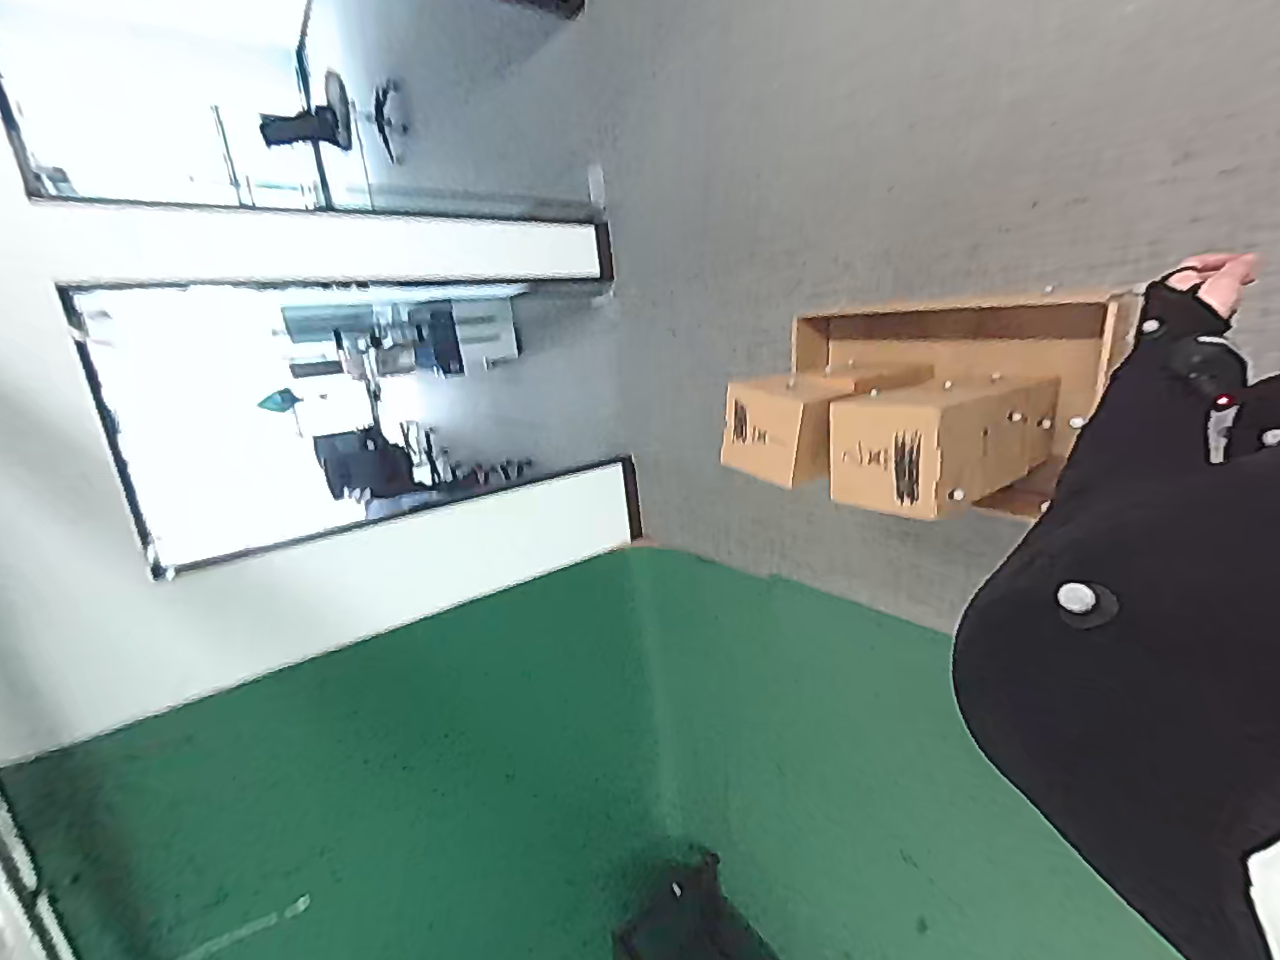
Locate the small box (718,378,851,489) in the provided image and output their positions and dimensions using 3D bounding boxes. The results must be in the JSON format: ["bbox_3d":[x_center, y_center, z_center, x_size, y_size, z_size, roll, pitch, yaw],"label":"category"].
[{"bbox_3d":[0.279,-0.101,1.057,0.179,0.176,0.168,26,122,45],"label":"small box"}]

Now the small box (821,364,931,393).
[{"bbox_3d":[0.536,-0.175,1.243,0.179,0.176,0.168,15,115,50],"label":"small box"}]

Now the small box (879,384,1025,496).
[{"bbox_3d":[0.553,-0.080,0.962,0.179,0.176,0.168,14,113,53],"label":"small box"}]

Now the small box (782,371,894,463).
[{"bbox_3d":[0.410,-0.140,1.147,0.179,0.176,0.168,14,113,50],"label":"small box"}]
